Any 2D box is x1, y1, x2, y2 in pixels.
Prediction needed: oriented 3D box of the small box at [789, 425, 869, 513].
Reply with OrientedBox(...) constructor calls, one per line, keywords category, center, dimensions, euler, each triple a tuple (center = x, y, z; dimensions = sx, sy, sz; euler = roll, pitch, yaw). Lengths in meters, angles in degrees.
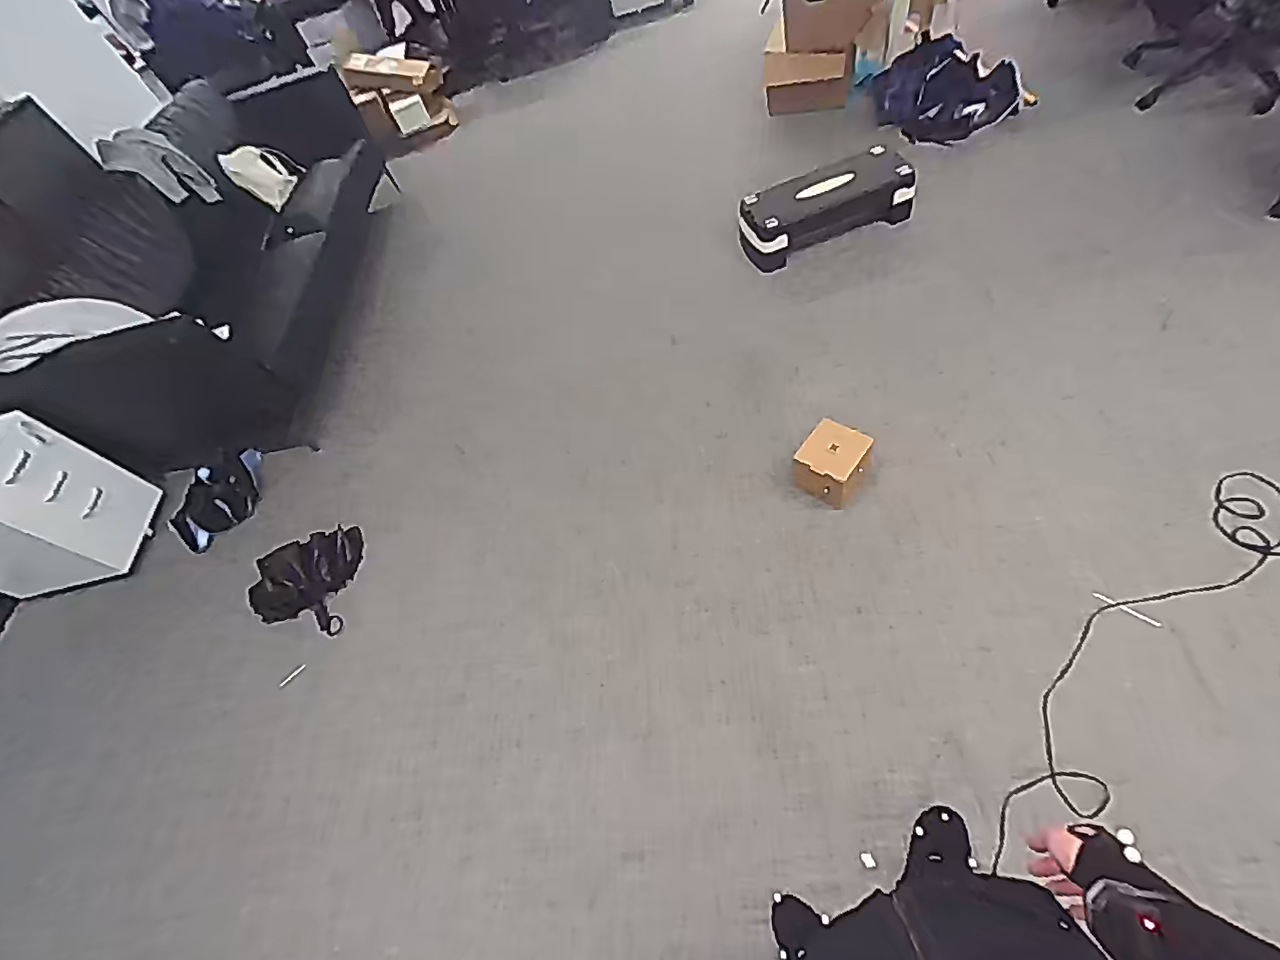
OrientedBox(category="small box", center=(0.575, -0.029, 1.657), dimensions=(0.168, 0.176, 0.179), euler=(30, 69, 29))
